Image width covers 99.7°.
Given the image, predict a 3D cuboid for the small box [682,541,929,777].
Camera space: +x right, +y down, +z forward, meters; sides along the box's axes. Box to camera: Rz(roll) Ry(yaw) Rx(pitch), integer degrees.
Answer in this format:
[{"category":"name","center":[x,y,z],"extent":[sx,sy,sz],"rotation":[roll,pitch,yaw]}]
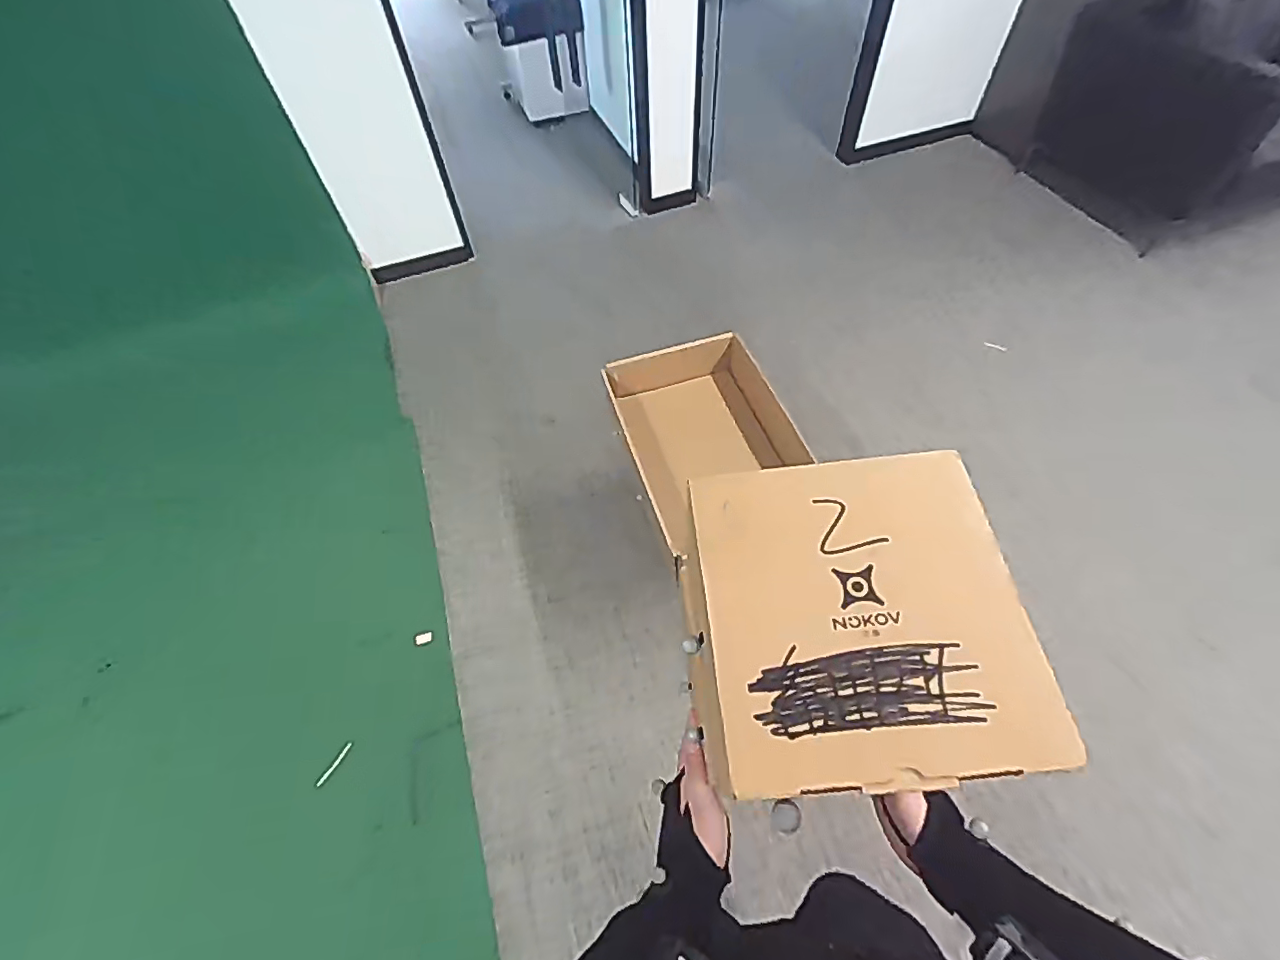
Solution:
[{"category":"small box","center":[0.131,0.176,0.511],"extent":[0.168,0.176,0.179],"rotation":[-7,62,1]}]
